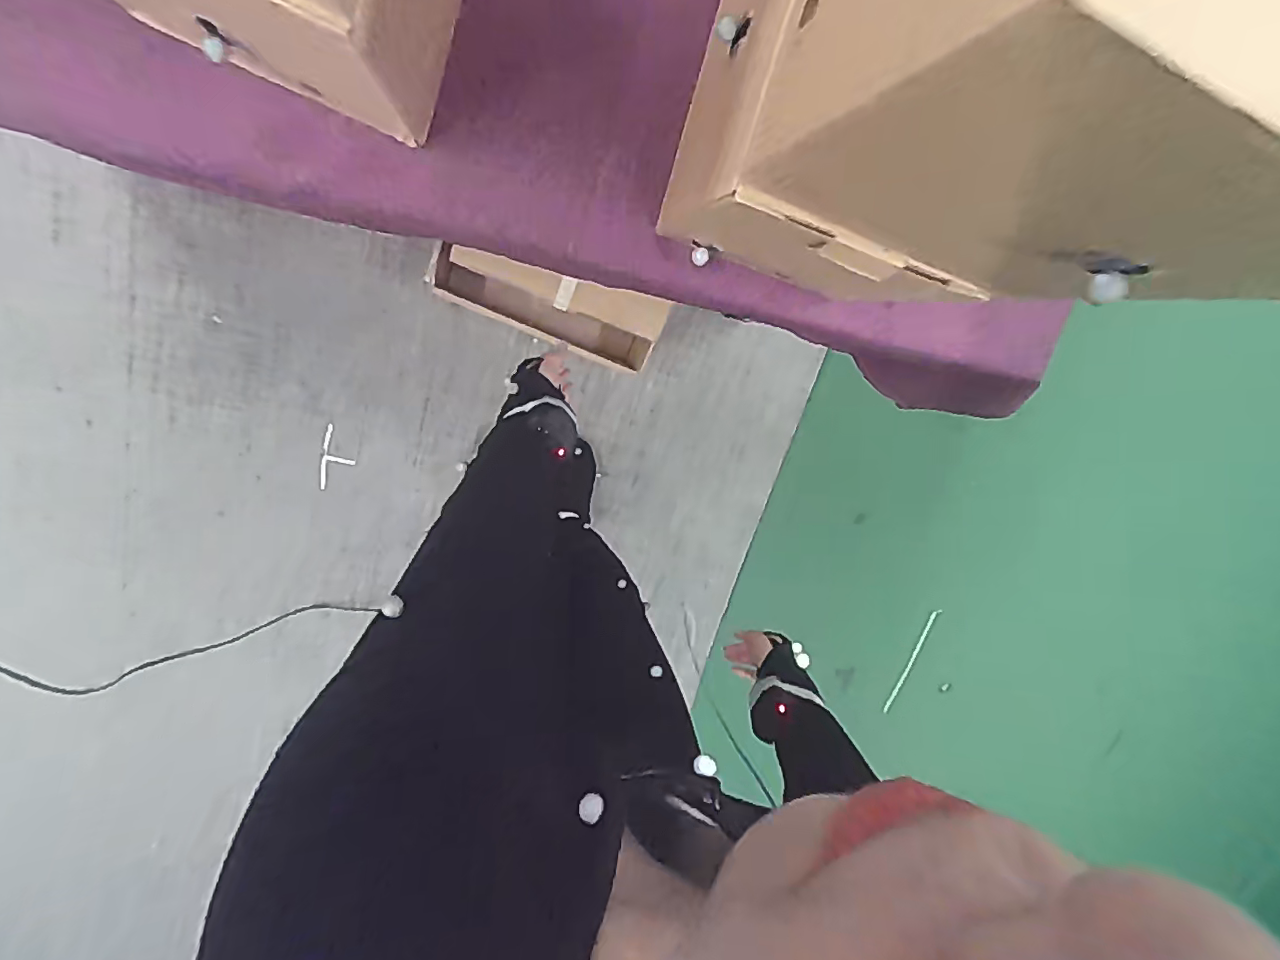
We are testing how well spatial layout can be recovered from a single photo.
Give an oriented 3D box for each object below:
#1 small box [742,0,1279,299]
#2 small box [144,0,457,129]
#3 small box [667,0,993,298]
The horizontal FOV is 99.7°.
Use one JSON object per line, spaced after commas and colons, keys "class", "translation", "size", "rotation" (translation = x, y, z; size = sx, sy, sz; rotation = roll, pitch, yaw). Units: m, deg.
{"class": "small box", "translation": [0.164, -0.170, 0.182], "size": [0.179, 0.176, 0.168], "rotation": [14, 105, -16]}
{"class": "small box", "translation": [-0.172, -0.301, 0.241], "size": [0.168, 0.176, 0.179], "rotation": [18, 106, -18]}
{"class": "small box", "translation": [0.126, -0.224, 0.332], "size": [0.168, 0.176, 0.179], "rotation": [13, 105, -16]}
